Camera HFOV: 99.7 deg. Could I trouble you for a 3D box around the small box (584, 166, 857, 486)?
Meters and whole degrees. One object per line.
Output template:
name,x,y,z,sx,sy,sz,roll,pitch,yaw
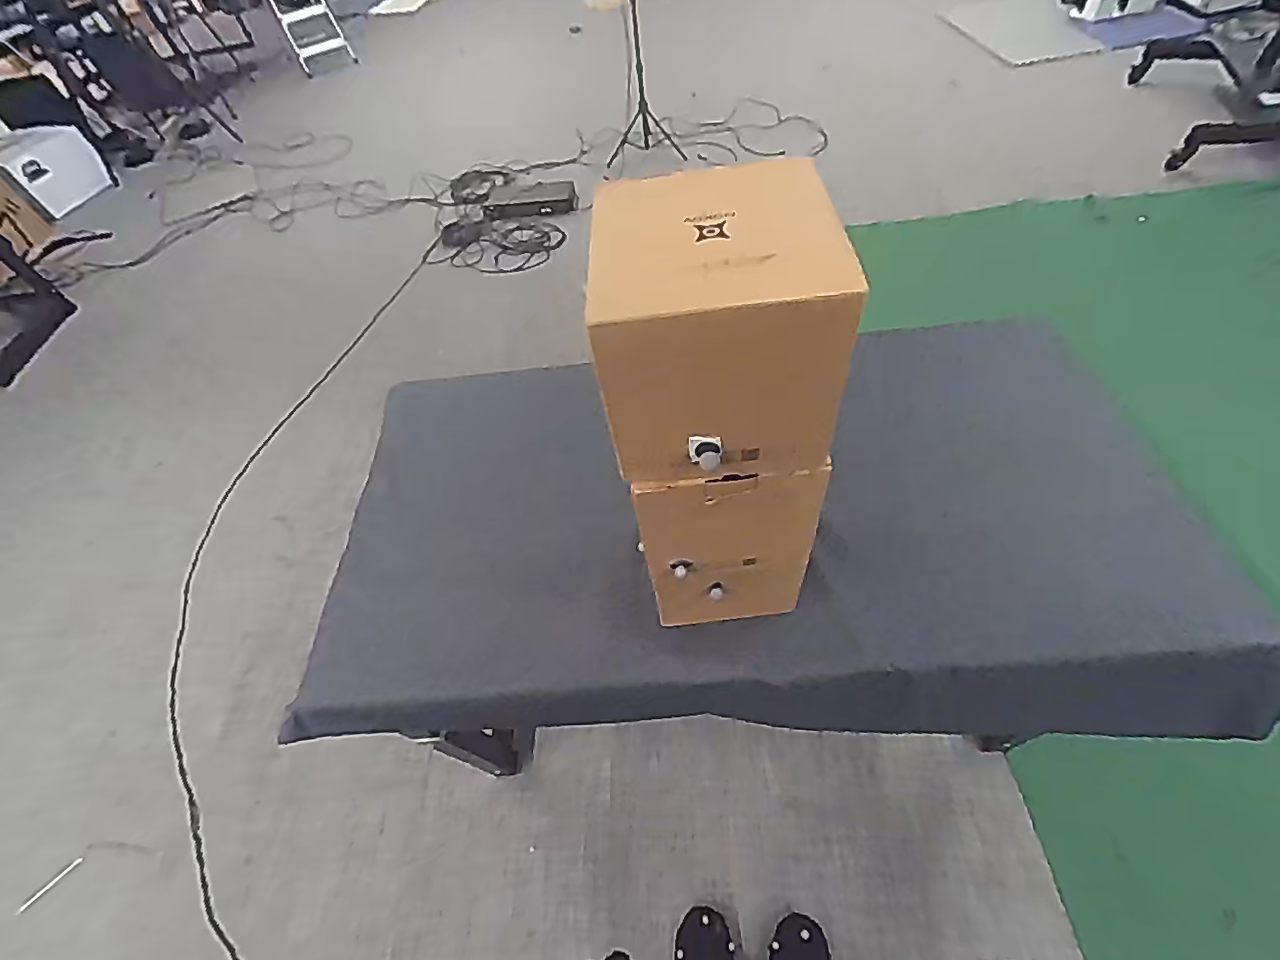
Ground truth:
small box,0.056,-0.117,0.435,0.168,0.176,0.179,-6,53,6

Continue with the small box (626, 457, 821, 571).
small box,0.077,-0.018,0.561,0.168,0.176,0.179,-7,51,4

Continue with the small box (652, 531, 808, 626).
small box,0.101,0.073,0.699,0.179,0.176,0.168,-10,51,1
